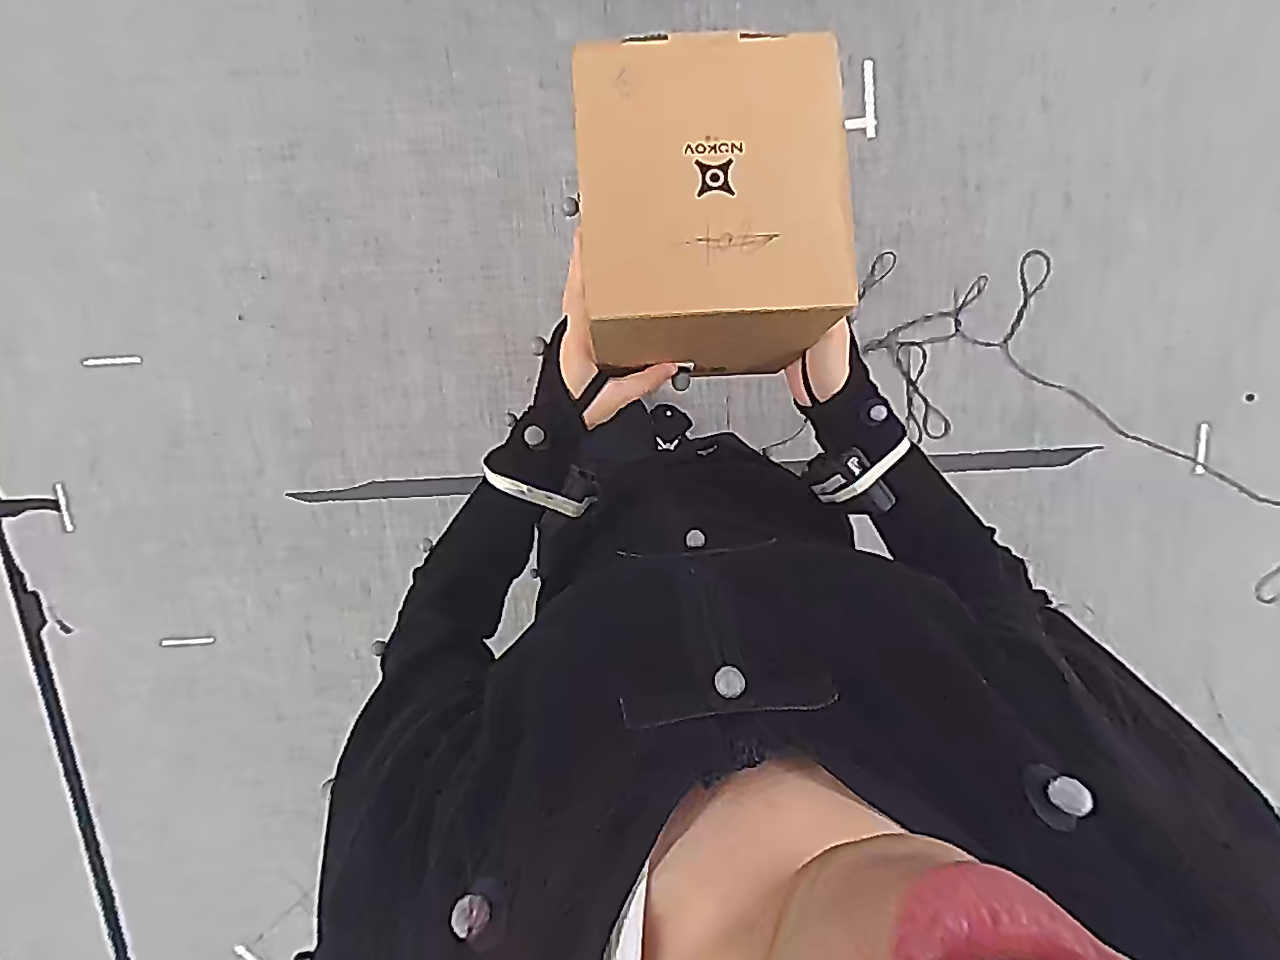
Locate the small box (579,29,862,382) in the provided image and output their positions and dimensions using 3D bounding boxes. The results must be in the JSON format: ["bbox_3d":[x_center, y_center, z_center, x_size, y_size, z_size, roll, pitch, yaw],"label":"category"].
[{"bbox_3d":[0.045,-0.182,0.405,0.168,0.176,0.179,-4,87,-1],"label":"small box"}]
